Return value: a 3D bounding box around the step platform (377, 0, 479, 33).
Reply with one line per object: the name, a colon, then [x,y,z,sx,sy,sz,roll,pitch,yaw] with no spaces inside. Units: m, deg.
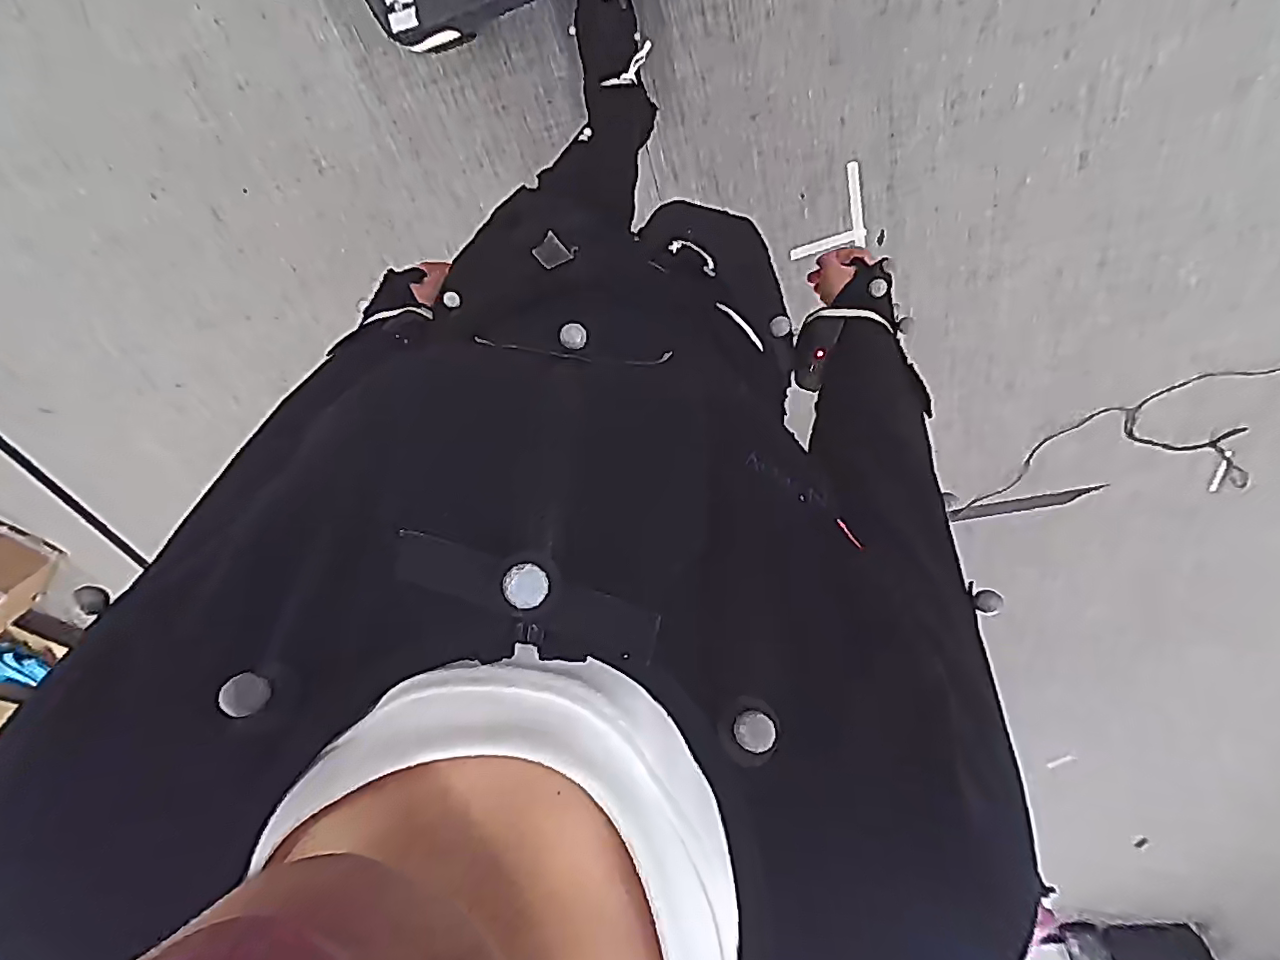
step platform: [-0.117,-0.922,0.766,0.684,0.204,0.286,-12,125,12]
